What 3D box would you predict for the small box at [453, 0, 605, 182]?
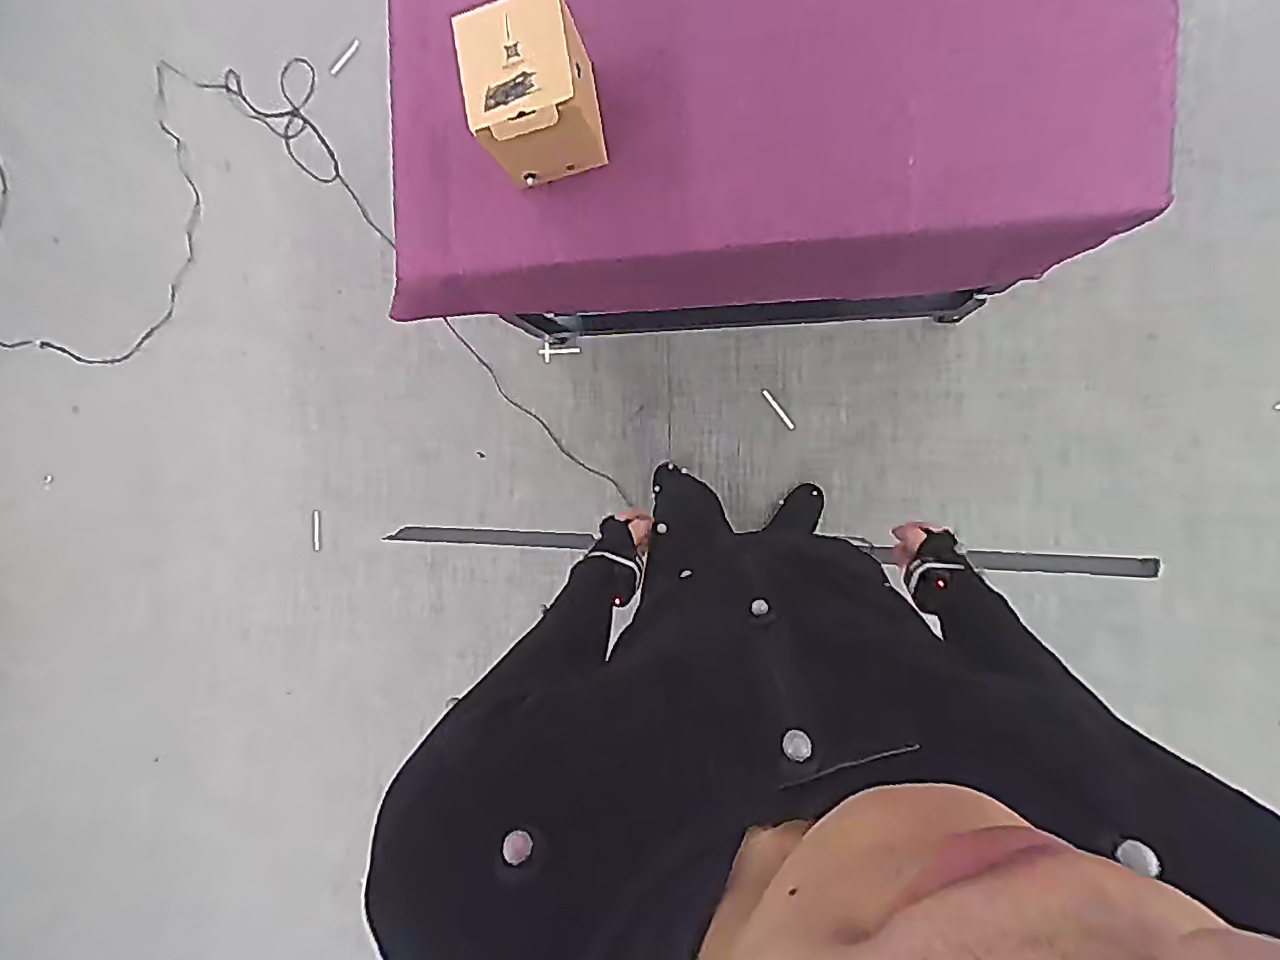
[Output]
[{"bbox_3d":[-0.162,-0.596,0.843,0.168,0.176,0.179,-10,89,12],"label":"small box"}]
